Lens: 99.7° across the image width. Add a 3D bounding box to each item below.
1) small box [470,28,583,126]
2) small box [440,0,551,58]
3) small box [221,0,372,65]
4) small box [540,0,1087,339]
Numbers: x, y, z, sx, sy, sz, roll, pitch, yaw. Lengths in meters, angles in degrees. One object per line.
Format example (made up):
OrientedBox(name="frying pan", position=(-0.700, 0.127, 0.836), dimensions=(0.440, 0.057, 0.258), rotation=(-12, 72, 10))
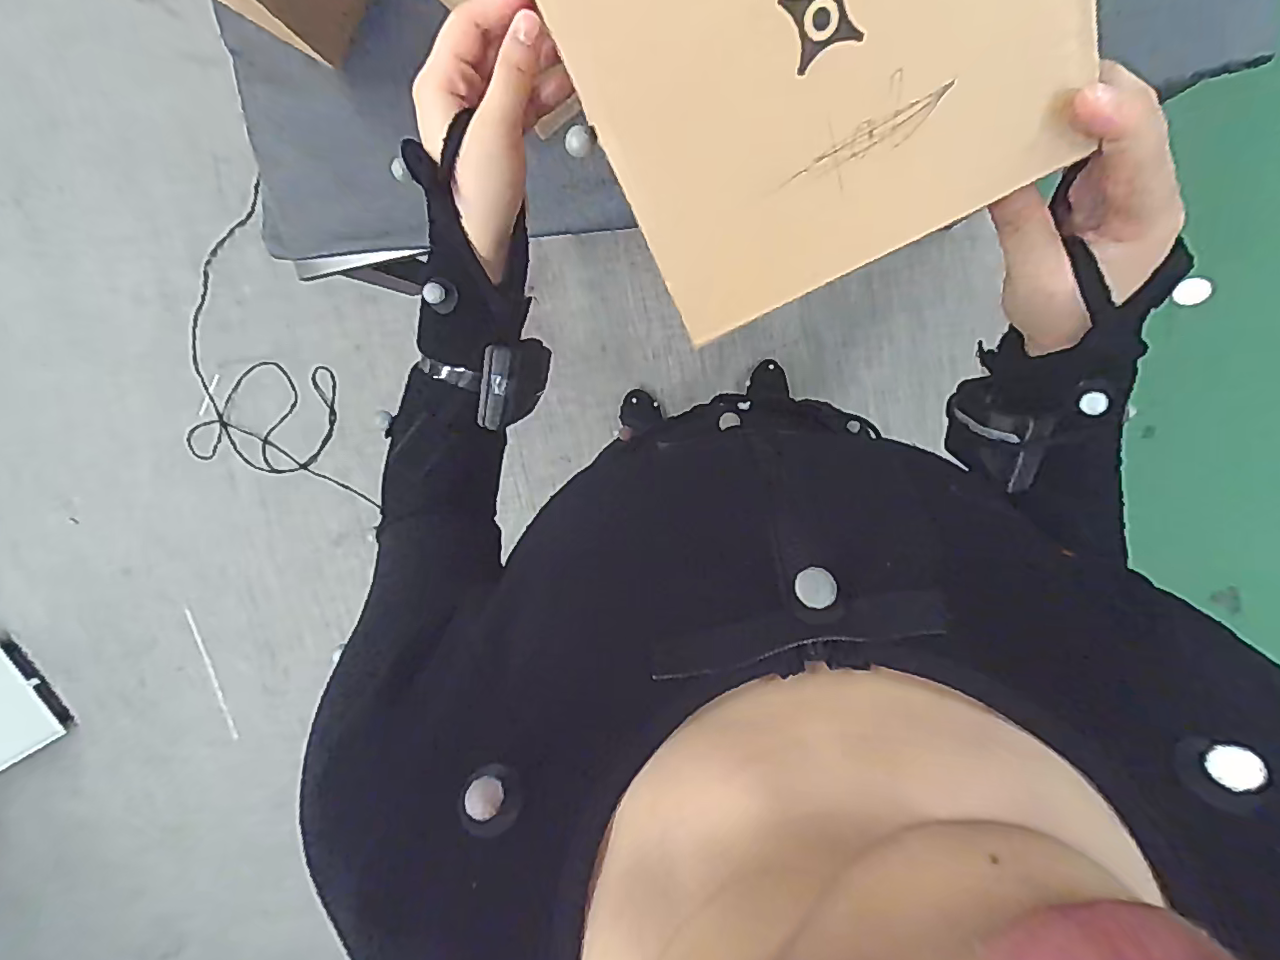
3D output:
OrientedBox(name="small box", position=(-0.111, -0.527, 0.586), dimensions=(0.168, 0.176, 0.179), rotation=(-34, 95, 10))
OrientedBox(name="small box", position=(-0.131, -0.491, 0.429), dimensions=(0.179, 0.176, 0.168), rotation=(44, 101, -3))
OrientedBox(name="small box", position=(-0.425, -0.619, 0.601), dimensions=(0.179, 0.176, 0.168), rotation=(30, 102, -1))
OrientedBox(name="small box", position=(0.056, -0.197, 0.250), dimensions=(0.168, 0.176, 0.179), rotation=(-24, 118, 12))
